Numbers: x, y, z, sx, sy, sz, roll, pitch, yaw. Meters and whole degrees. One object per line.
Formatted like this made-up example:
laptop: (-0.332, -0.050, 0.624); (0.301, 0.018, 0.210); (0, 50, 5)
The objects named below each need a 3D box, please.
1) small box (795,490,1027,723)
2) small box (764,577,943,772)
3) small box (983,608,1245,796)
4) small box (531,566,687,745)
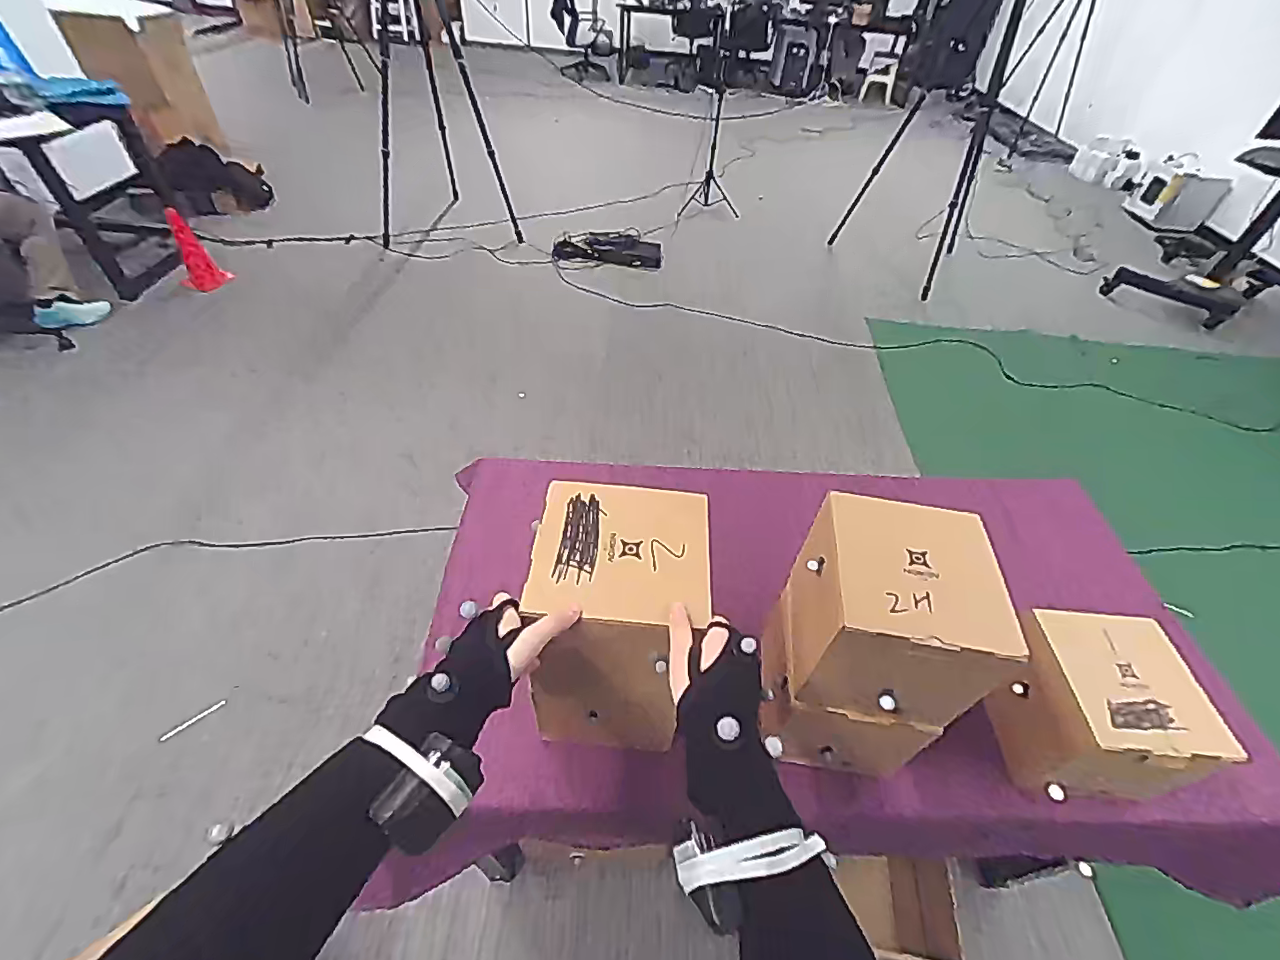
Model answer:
small box: (0.274, 0.141, 0.600); (0.168, 0.176, 0.179); (9, 47, 5)
small box: (0.263, 0.258, 0.716); (0.168, 0.176, 0.179); (9, 48, 4)
small box: (0.582, 0.292, 0.705); (0.168, 0.176, 0.179); (5, 46, 1)
small box: (-0.033, 0.234, 0.713); (0.179, 0.176, 0.168); (5, 47, 1)
